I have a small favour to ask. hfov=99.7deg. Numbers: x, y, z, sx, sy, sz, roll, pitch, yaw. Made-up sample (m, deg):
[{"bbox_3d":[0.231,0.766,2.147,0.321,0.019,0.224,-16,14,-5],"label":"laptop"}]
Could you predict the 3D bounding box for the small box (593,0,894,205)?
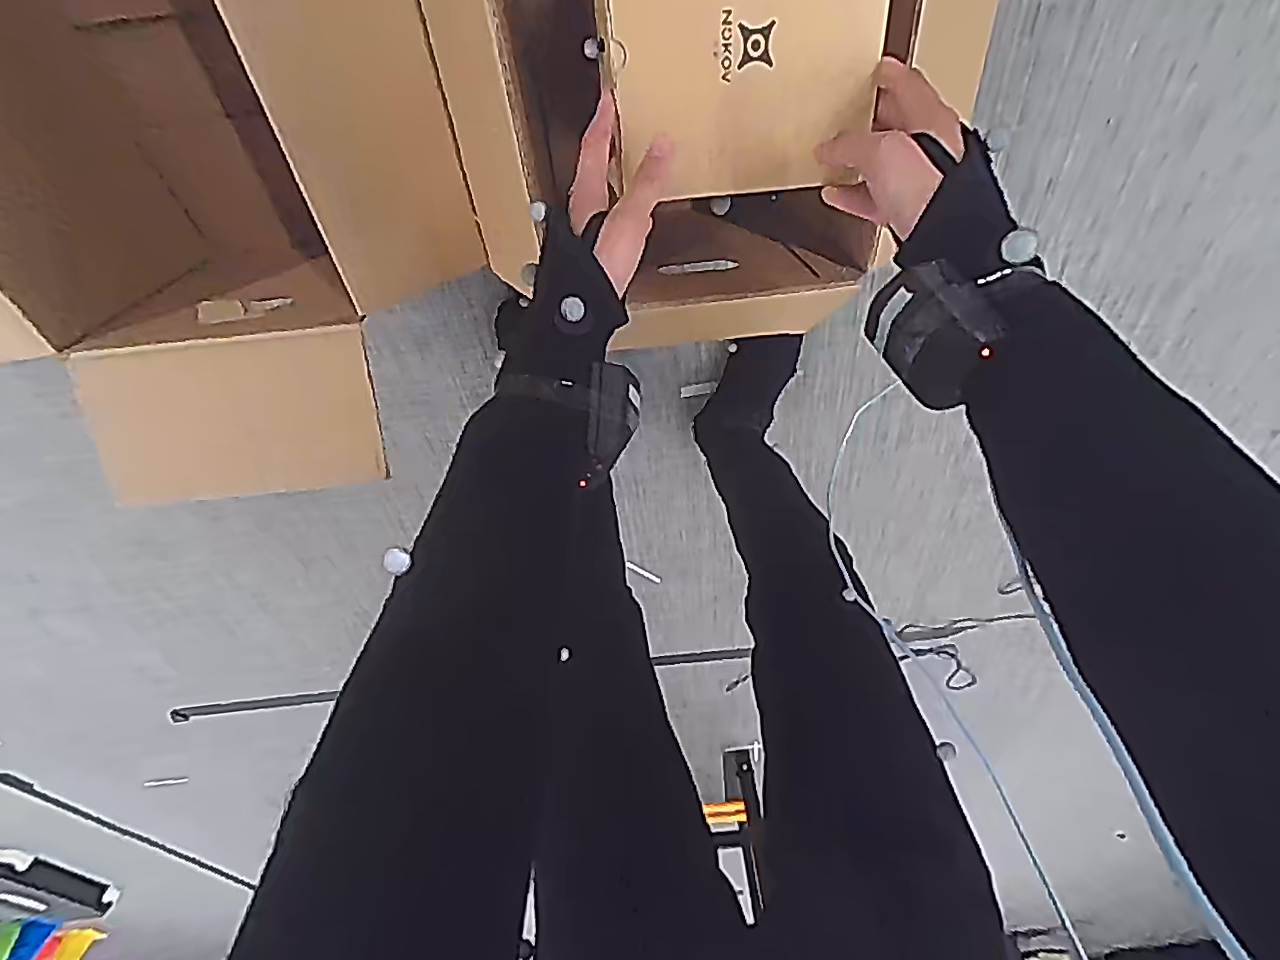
[{"bbox_3d":[0.060,-0.310,0.394,0.179,0.176,0.168,-6,125,-1],"label":"small box"}]
